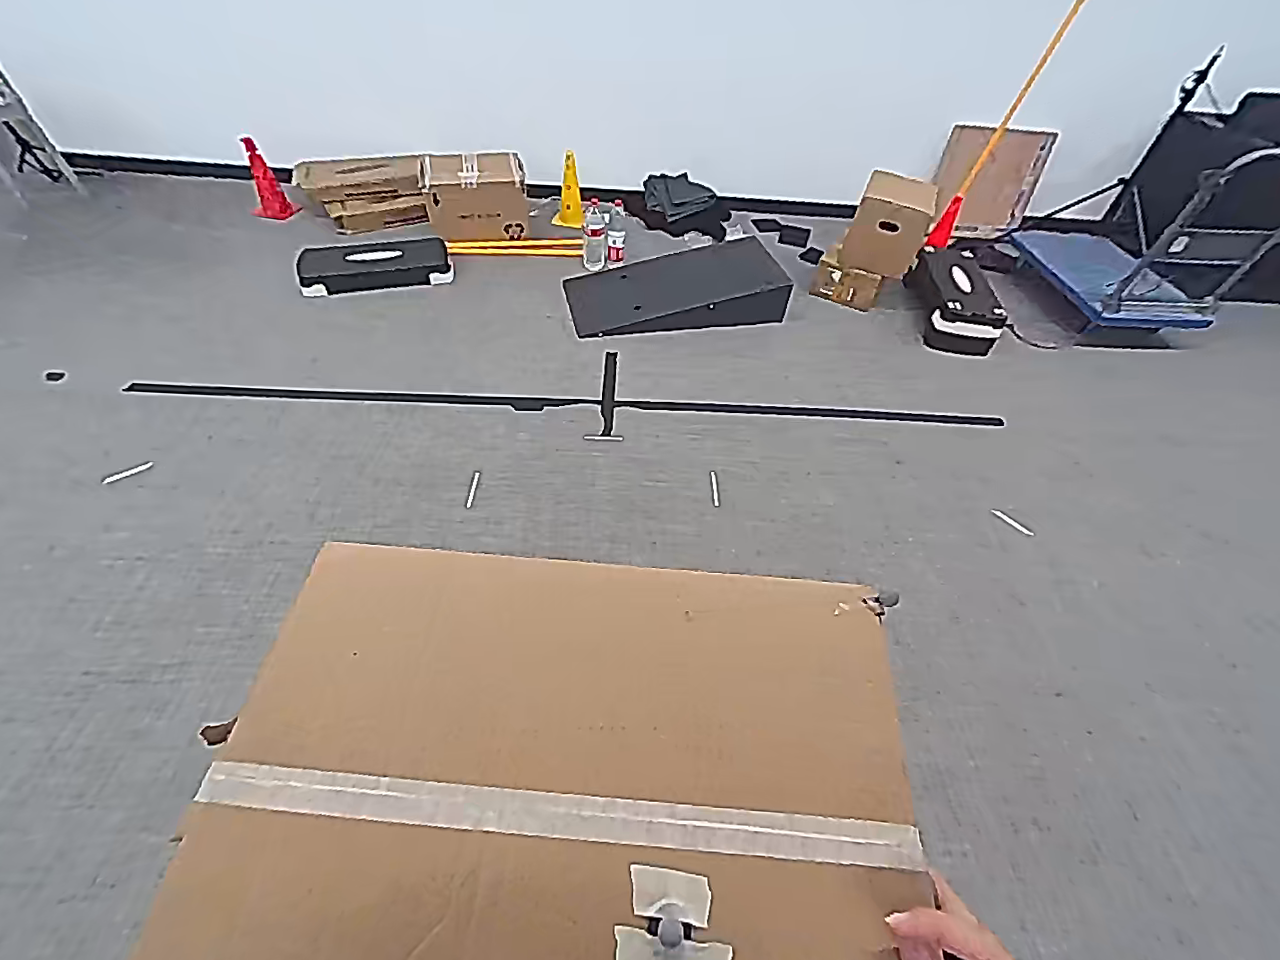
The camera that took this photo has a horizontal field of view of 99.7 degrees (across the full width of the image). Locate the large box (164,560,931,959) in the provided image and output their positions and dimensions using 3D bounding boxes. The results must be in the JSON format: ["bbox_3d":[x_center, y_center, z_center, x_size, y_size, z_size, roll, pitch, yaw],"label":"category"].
[{"bbox_3d":[-0.045,0.282,0.439,0.408,0.320,0.320,4,56,1],"label":"large box"}]
